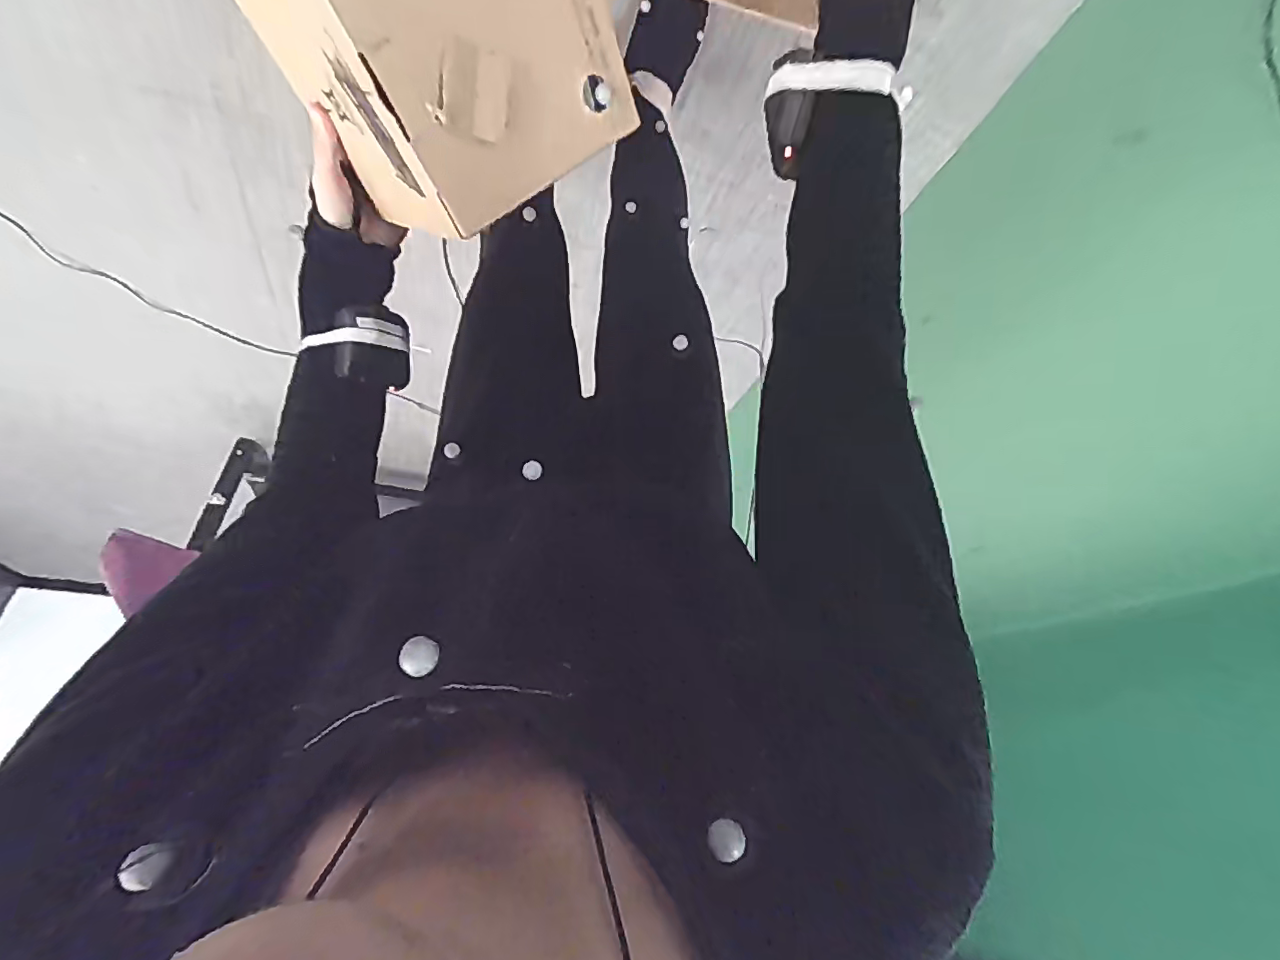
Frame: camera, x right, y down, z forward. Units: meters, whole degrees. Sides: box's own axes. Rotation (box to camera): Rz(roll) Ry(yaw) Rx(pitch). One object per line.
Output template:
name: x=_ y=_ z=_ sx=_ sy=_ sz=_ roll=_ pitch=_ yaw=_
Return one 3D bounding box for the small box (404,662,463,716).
small box: x=-0.789 y=0.801 z=2.075 sx=0.179 sy=0.176 sz=0.168 roll=11 pitch=150 yaw=-14

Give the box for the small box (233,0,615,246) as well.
small box: x=-0.138 y=-0.296 z=0.382 sx=0.179 sy=0.176 sz=0.168 roll=35 pitch=160 yaw=41
